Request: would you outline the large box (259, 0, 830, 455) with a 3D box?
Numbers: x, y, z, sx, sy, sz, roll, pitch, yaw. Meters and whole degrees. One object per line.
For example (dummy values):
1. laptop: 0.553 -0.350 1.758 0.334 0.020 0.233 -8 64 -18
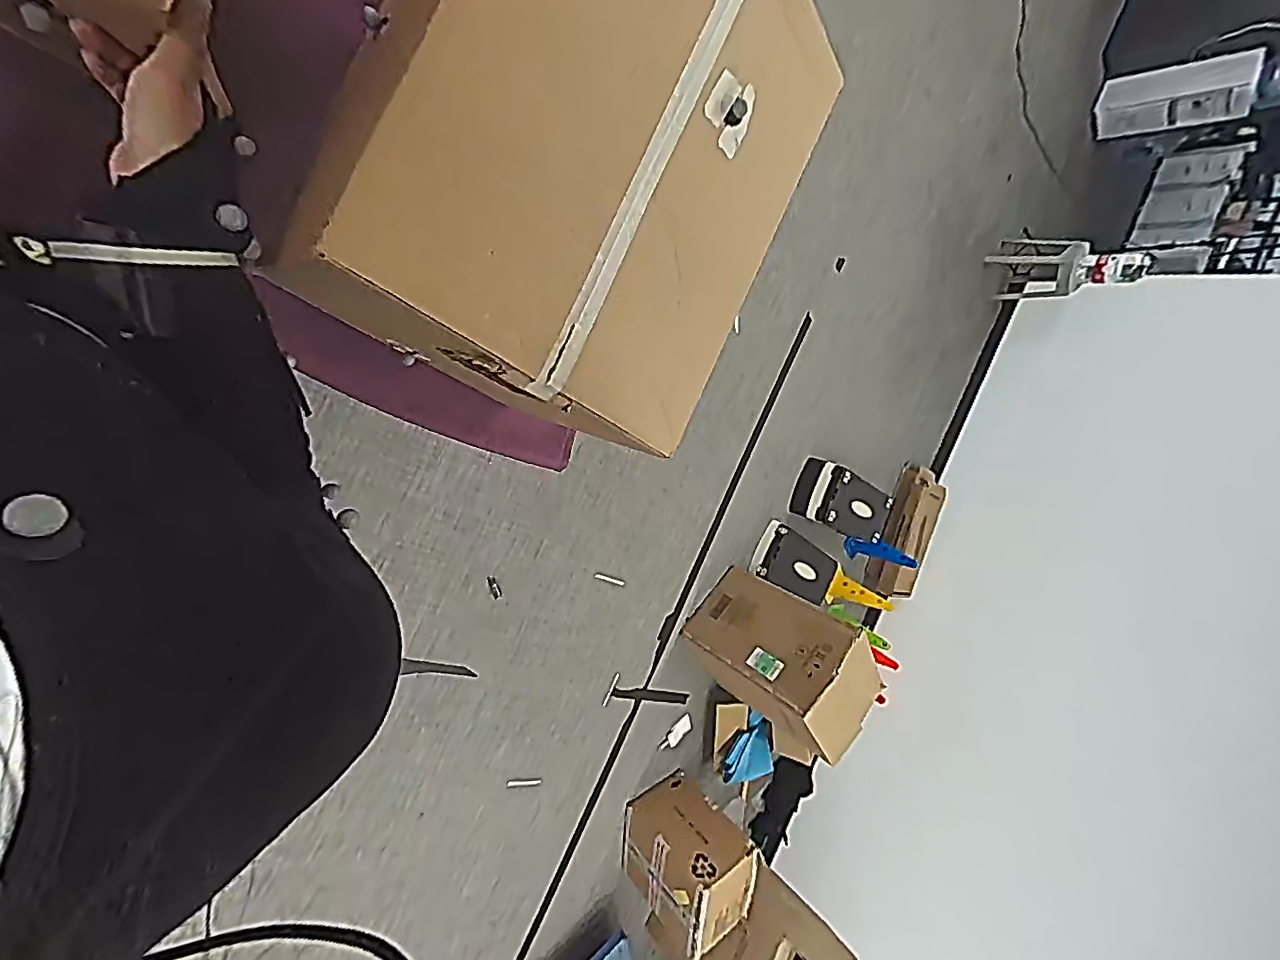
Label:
1. large box: -0.089 -0.283 0.510 0.320 0.320 0.408 27 85 -45
